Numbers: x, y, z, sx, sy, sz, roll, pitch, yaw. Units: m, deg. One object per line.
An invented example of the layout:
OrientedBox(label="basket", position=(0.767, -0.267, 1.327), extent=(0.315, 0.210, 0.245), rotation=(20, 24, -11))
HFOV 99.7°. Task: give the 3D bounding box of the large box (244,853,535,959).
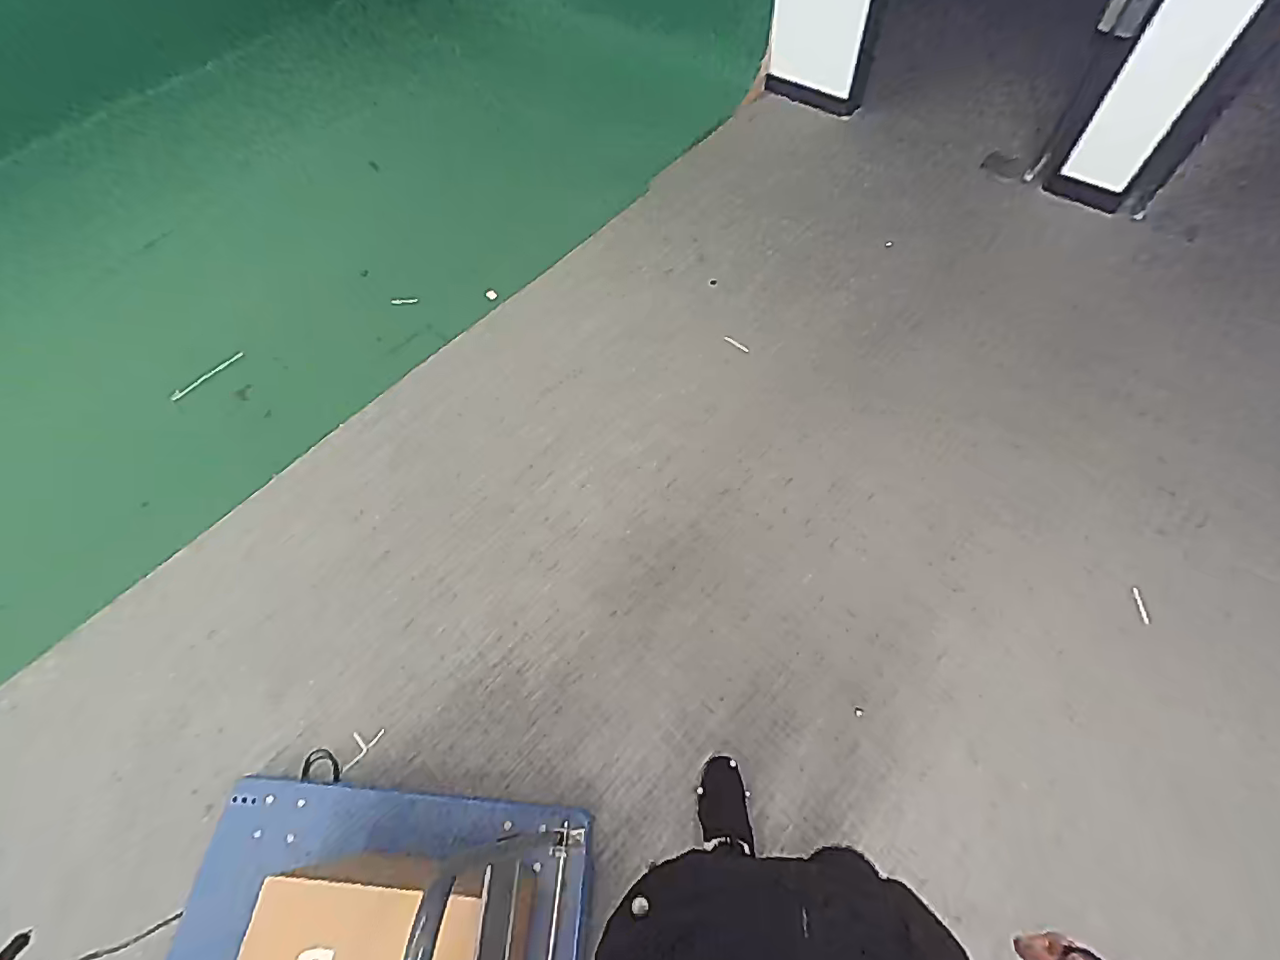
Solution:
OrientedBox(label="large box", position=(-0.438, 0.891, 0.975), extent=(0.408, 0.320, 0.320), rotation=(1, 62, 7))
